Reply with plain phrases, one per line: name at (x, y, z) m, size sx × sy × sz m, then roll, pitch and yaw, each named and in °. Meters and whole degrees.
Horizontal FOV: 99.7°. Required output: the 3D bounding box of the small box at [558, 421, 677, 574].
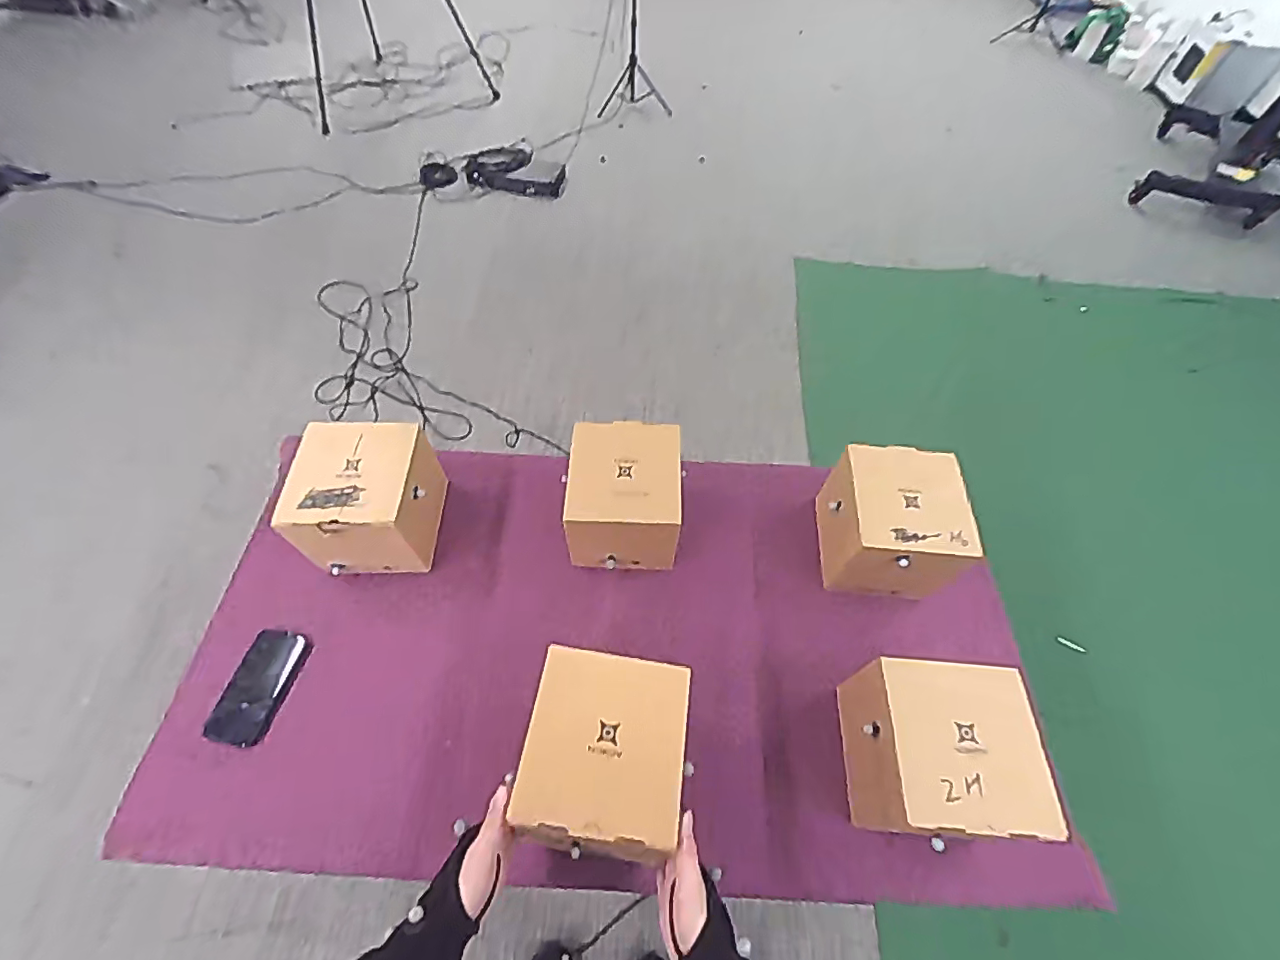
small box at (-0.030, 0.030, 0.847) m, size 0.168 × 0.176 × 0.179 m, roll 2°, pitch 57°, yaw 0°

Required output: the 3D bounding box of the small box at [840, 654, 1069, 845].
small box at (0.355, 0.330, 0.657) m, size 0.168 × 0.176 × 0.179 m, roll 4°, pitch 56°, yaw 2°

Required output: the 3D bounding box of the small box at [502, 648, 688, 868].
small box at (-0.046, 0.316, 0.609) m, size 0.168 × 0.176 × 0.179 m, roll 9°, pitch 52°, yaw 0°

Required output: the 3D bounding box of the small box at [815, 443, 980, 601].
small box at (0.379, 0.068, 0.836) m, size 0.168 × 0.176 × 0.179 m, roll 5°, pitch 56°, yaw 2°

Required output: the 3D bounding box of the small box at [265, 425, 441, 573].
small box at (-0.420, 0.035, 0.828) m, size 0.168 × 0.176 × 0.179 m, roll 0°, pitch 56°, yaw -3°
